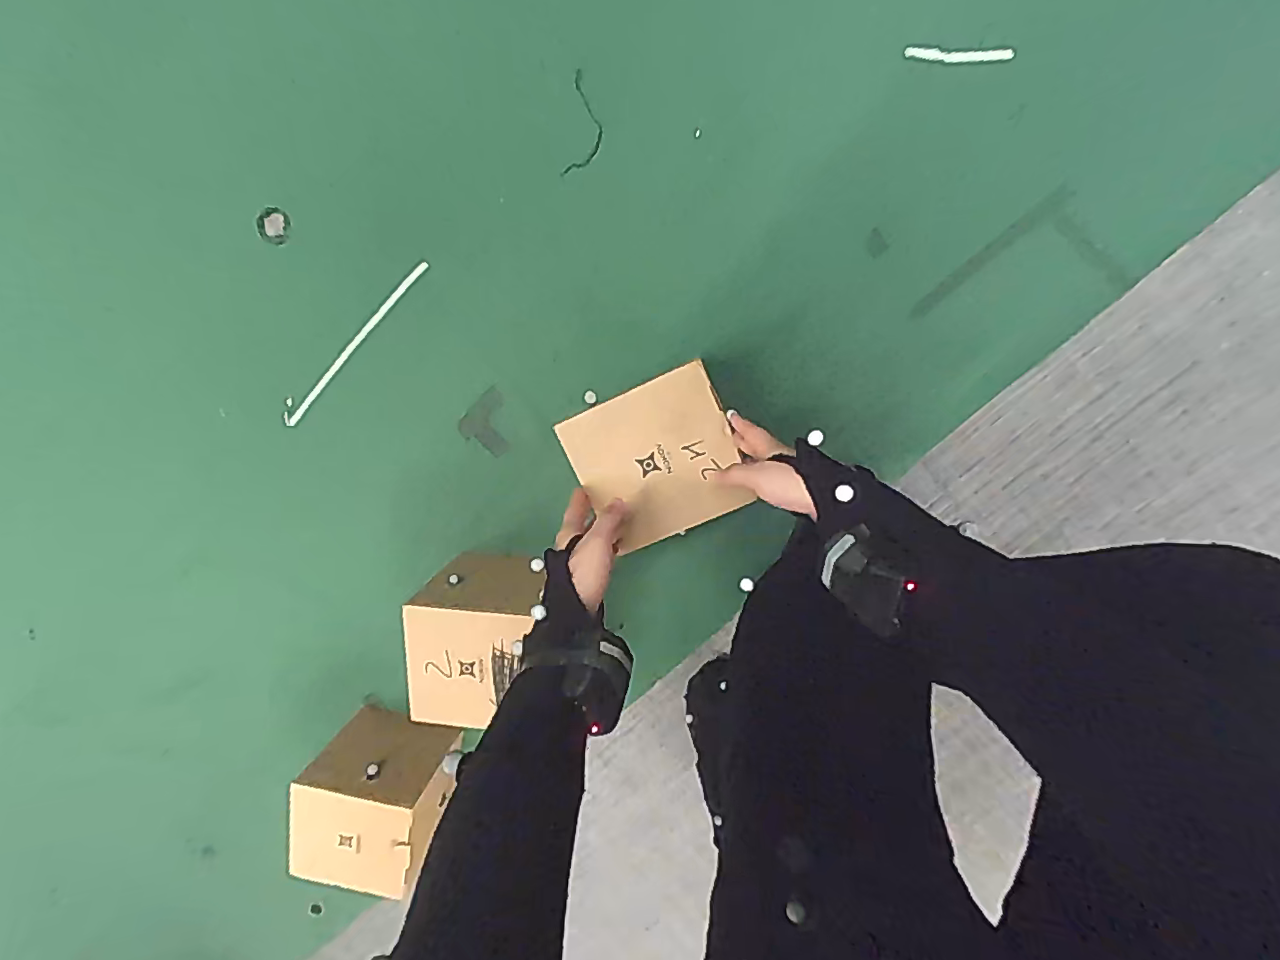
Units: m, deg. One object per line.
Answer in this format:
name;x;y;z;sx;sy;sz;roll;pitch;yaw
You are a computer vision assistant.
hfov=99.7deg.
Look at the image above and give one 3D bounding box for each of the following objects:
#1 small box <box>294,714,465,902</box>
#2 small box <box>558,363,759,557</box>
small box;-0.391;0.489;0.830;0.179;0.176;0.168;10;104;2
small box;0.028;-0.032;0.662;0.179;0.176;0.168;-23;100;9
